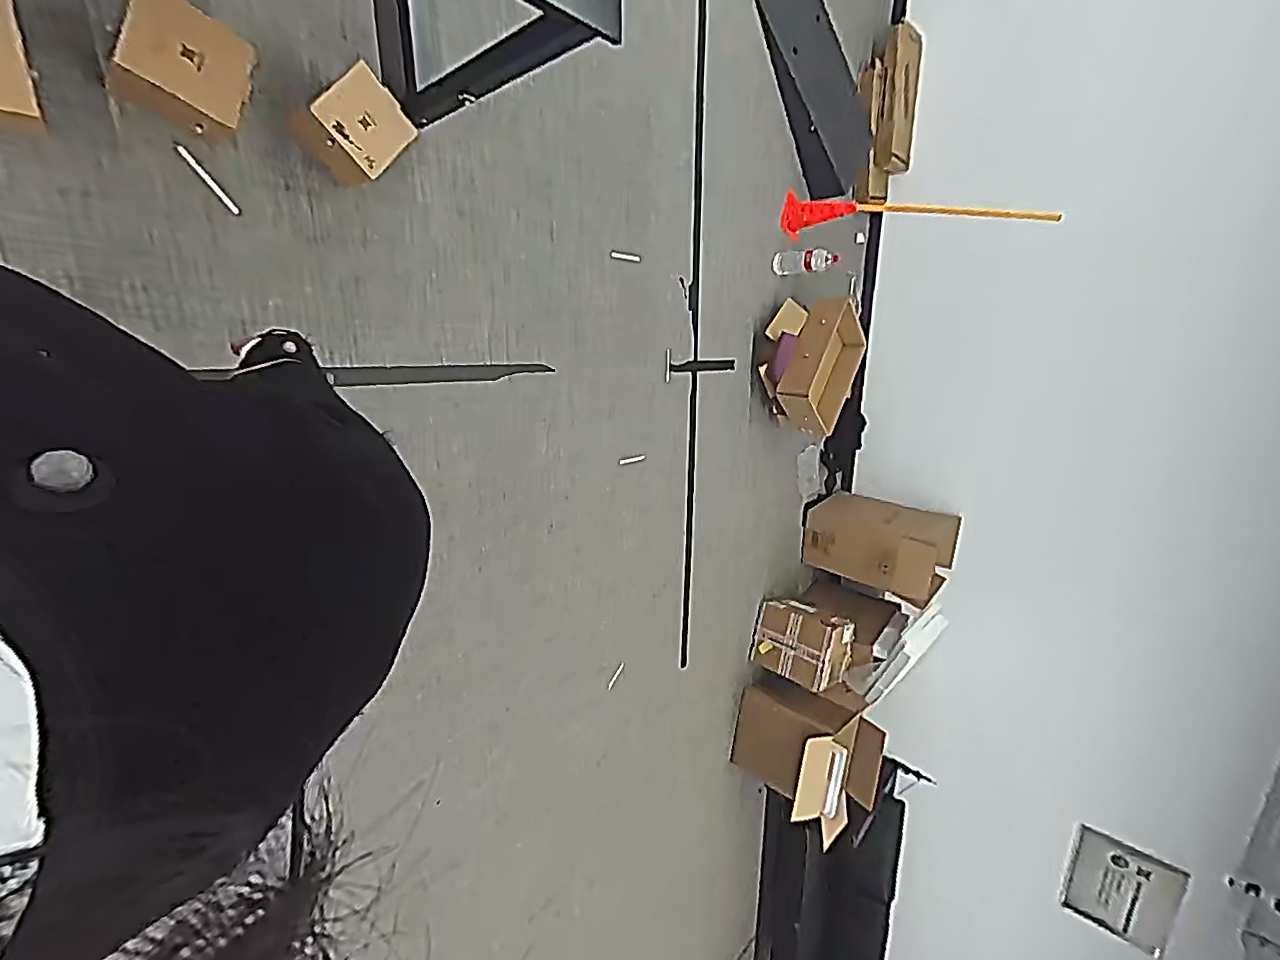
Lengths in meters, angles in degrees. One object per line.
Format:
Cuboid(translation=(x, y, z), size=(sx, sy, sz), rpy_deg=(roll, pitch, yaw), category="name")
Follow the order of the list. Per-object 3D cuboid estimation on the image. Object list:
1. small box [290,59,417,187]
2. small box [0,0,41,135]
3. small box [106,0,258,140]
Cuboid(translation=(-0.661, -0.812, 1.244), size=(0.168, 0.176, 0.179), rpy_deg=(48, 65, -44), category="small box")
Cuboid(translation=(-1.065, -0.662, 0.829), size=(0.168, 0.176, 0.179), rpy_deg=(-16, 114, -45), category="small box")
Cuboid(translation=(-0.867, -0.779, 1.023), size=(0.179, 0.176, 0.168), rpy_deg=(16, 88, -49), category="small box")
